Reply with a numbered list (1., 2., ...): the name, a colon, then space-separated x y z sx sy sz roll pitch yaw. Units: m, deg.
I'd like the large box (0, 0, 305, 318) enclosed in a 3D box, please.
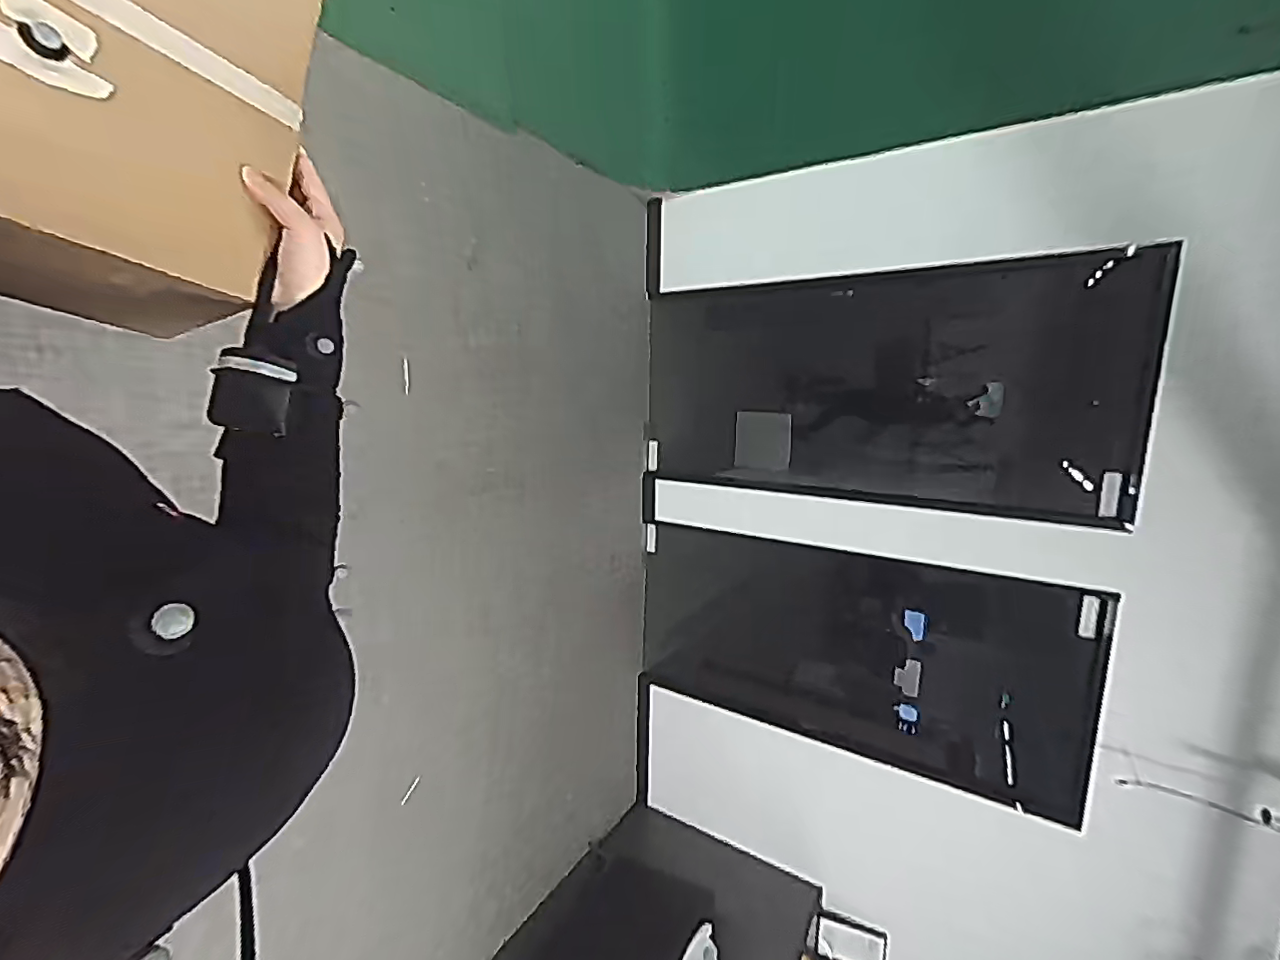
1. large box: -0.527 -0.342 0.376 0.408 0.320 0.320 12 86 -53
